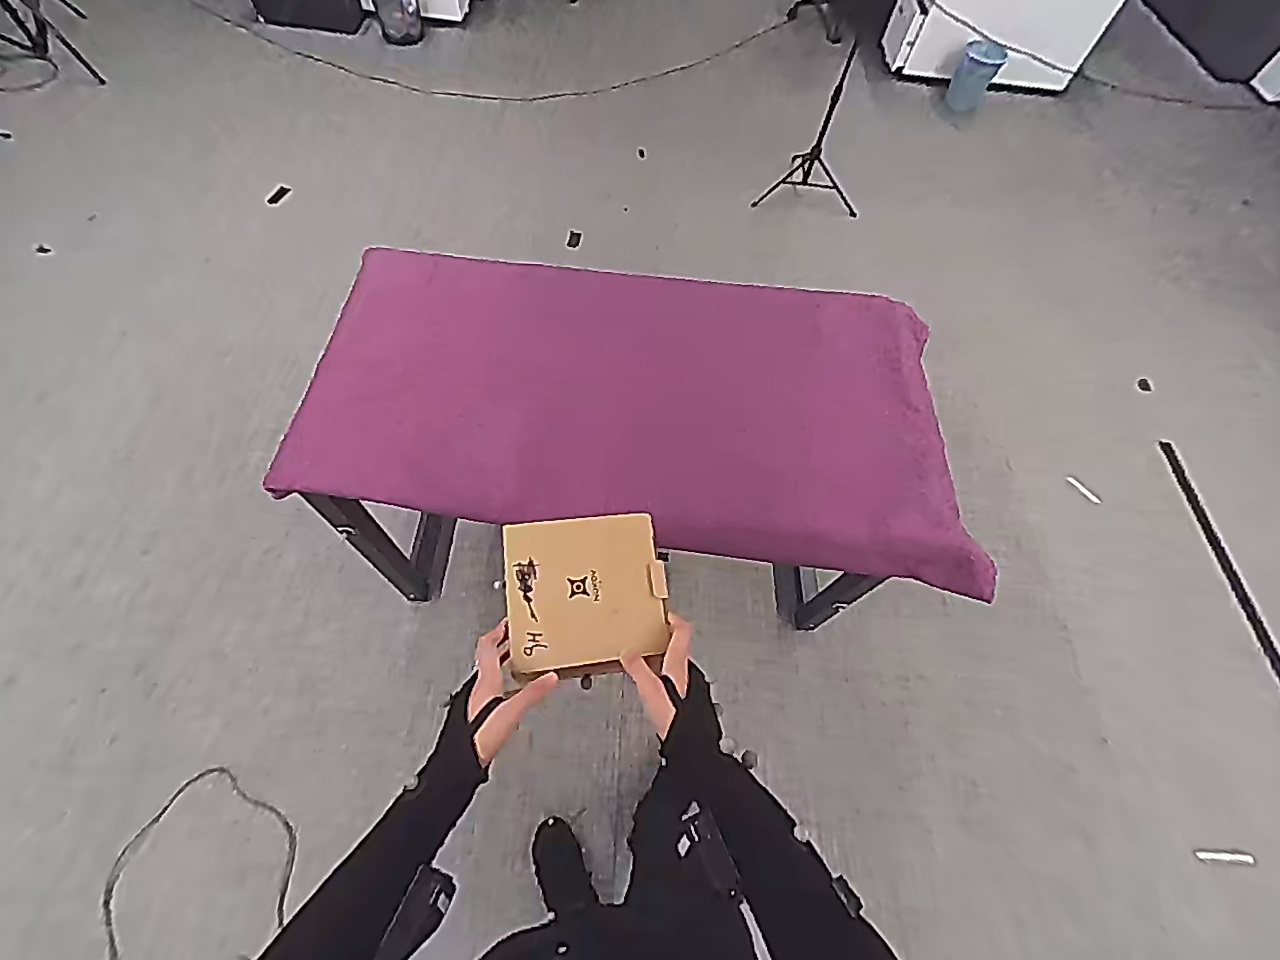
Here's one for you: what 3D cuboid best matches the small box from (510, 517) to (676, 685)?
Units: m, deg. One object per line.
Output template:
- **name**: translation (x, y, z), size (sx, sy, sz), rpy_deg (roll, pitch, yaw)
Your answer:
- **small box**: translation (-0.069, 0.154, 0.673), size (0.179, 0.176, 0.168), rpy_deg (-3, 66, -13)
